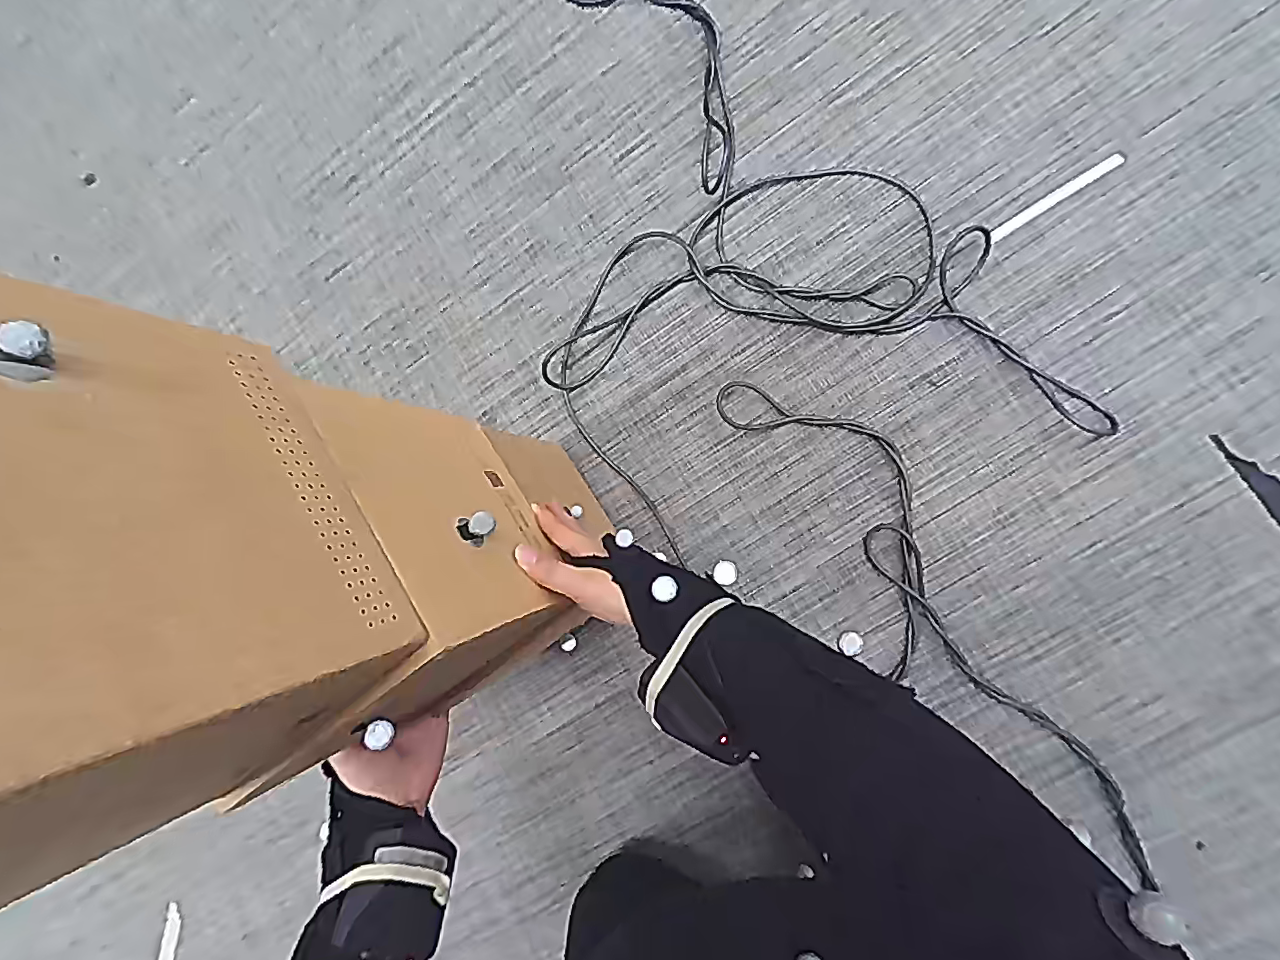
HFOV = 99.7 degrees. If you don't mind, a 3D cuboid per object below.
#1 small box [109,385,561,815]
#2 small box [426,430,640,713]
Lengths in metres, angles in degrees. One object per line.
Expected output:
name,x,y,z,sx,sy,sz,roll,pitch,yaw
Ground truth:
small box,-0.175,0.064,0.359,0.179,0.176,0.168,-38,79,14
small box,-0.127,0.077,0.513,0.168,0.176,0.179,-37,79,13
